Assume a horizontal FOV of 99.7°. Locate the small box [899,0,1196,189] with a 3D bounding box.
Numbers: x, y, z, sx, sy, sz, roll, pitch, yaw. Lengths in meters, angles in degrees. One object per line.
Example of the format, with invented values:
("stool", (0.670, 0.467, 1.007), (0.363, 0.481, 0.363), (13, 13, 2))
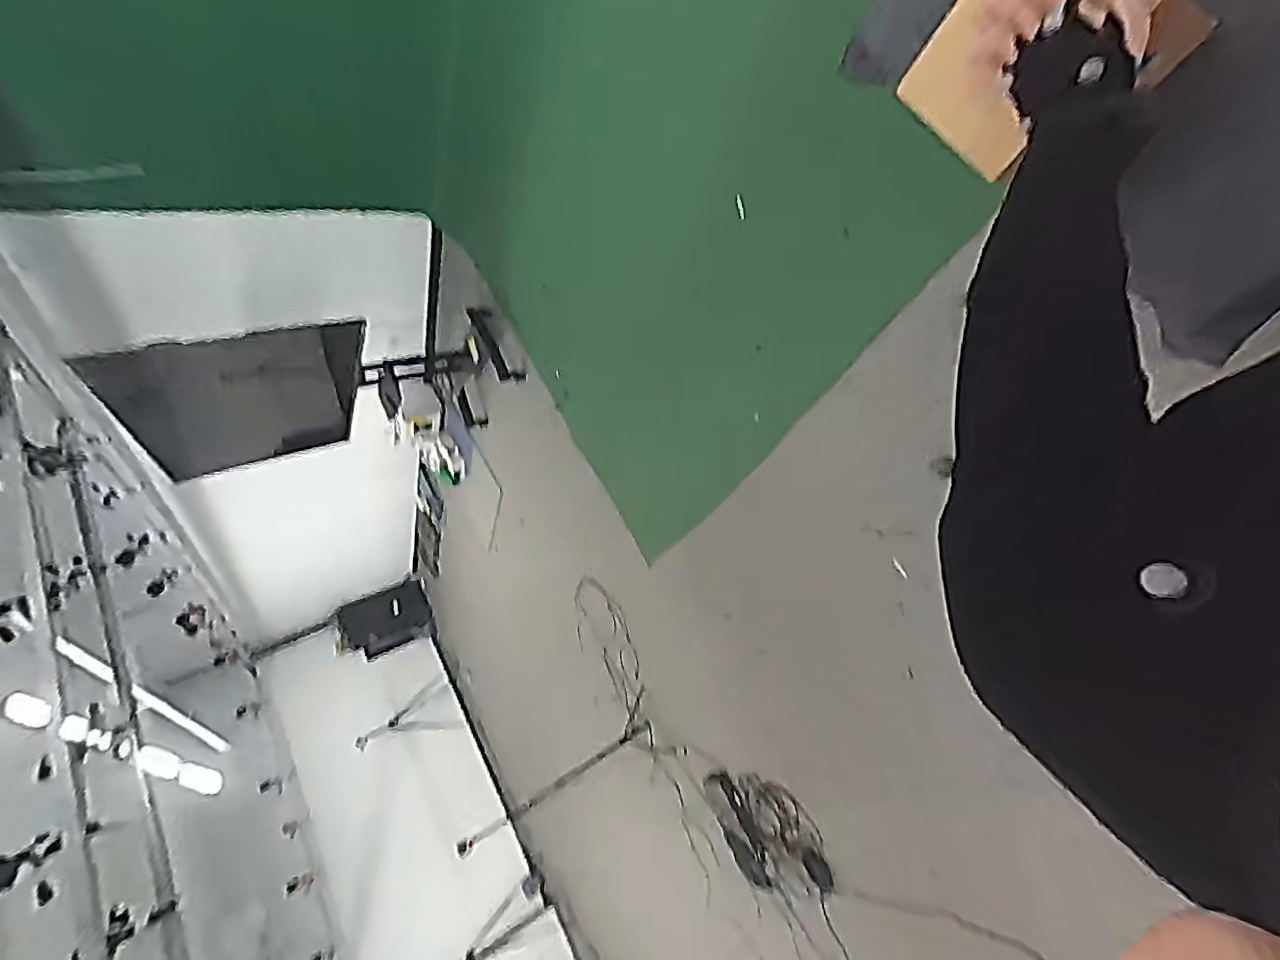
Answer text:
("small box", (0.429, -0.442, 0.574), (0.168, 0.176, 0.179), (62, 145, 18))
